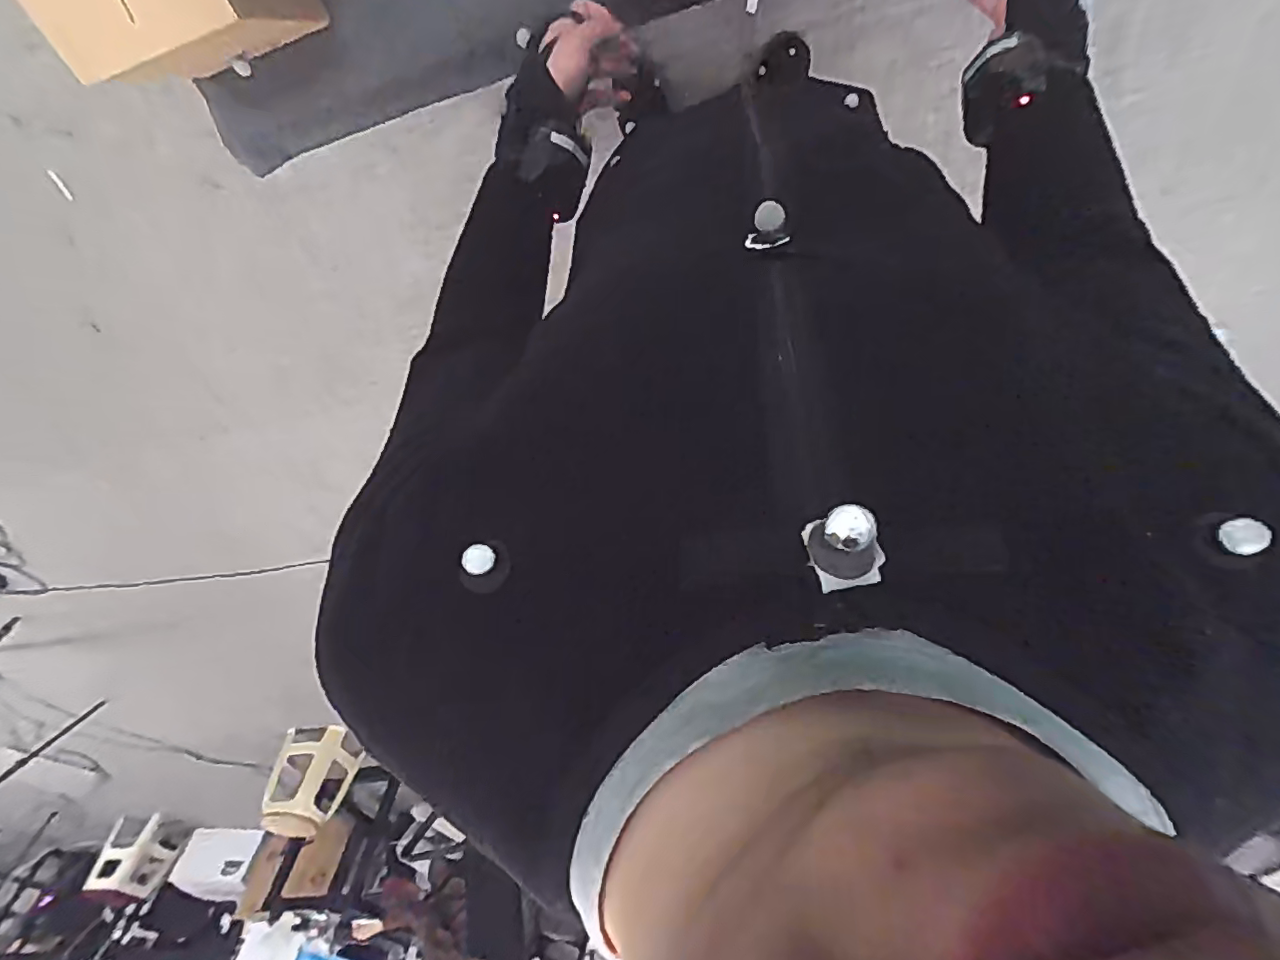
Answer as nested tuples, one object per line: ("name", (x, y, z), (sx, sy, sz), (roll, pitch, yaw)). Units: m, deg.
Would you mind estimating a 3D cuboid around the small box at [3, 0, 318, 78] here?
("small box", (-0.419, -0.462, 0.446), (0.168, 0.176, 0.179), (-12, 128, 11))
